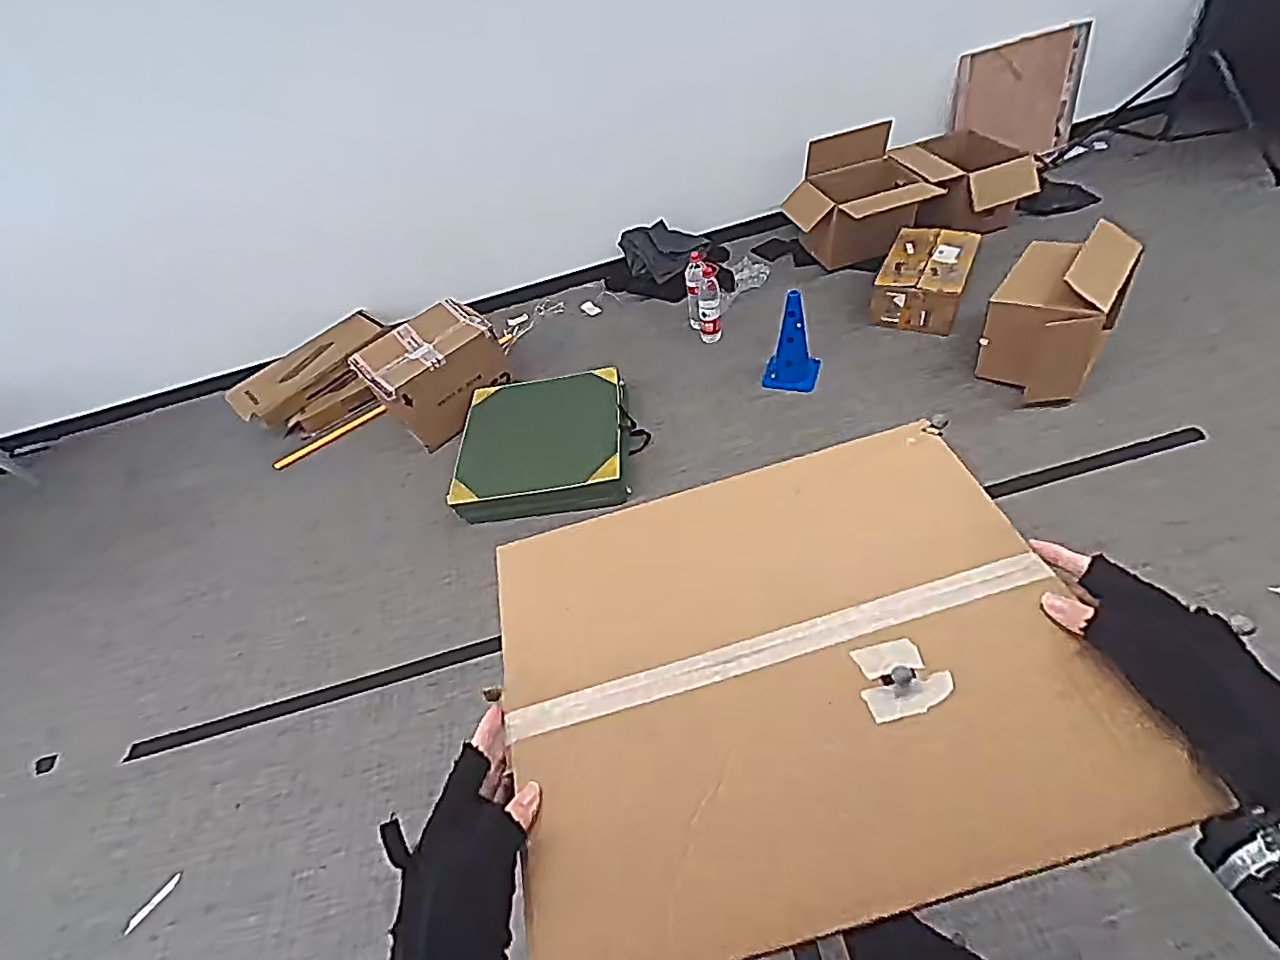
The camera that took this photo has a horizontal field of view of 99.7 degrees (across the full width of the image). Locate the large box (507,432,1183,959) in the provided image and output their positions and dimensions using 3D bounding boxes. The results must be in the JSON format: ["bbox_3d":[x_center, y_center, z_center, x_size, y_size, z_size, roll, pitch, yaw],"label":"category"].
[{"bbox_3d":[0.125,0.214,0.525,0.408,0.320,0.320,-17,53,-1],"label":"large box"}]
